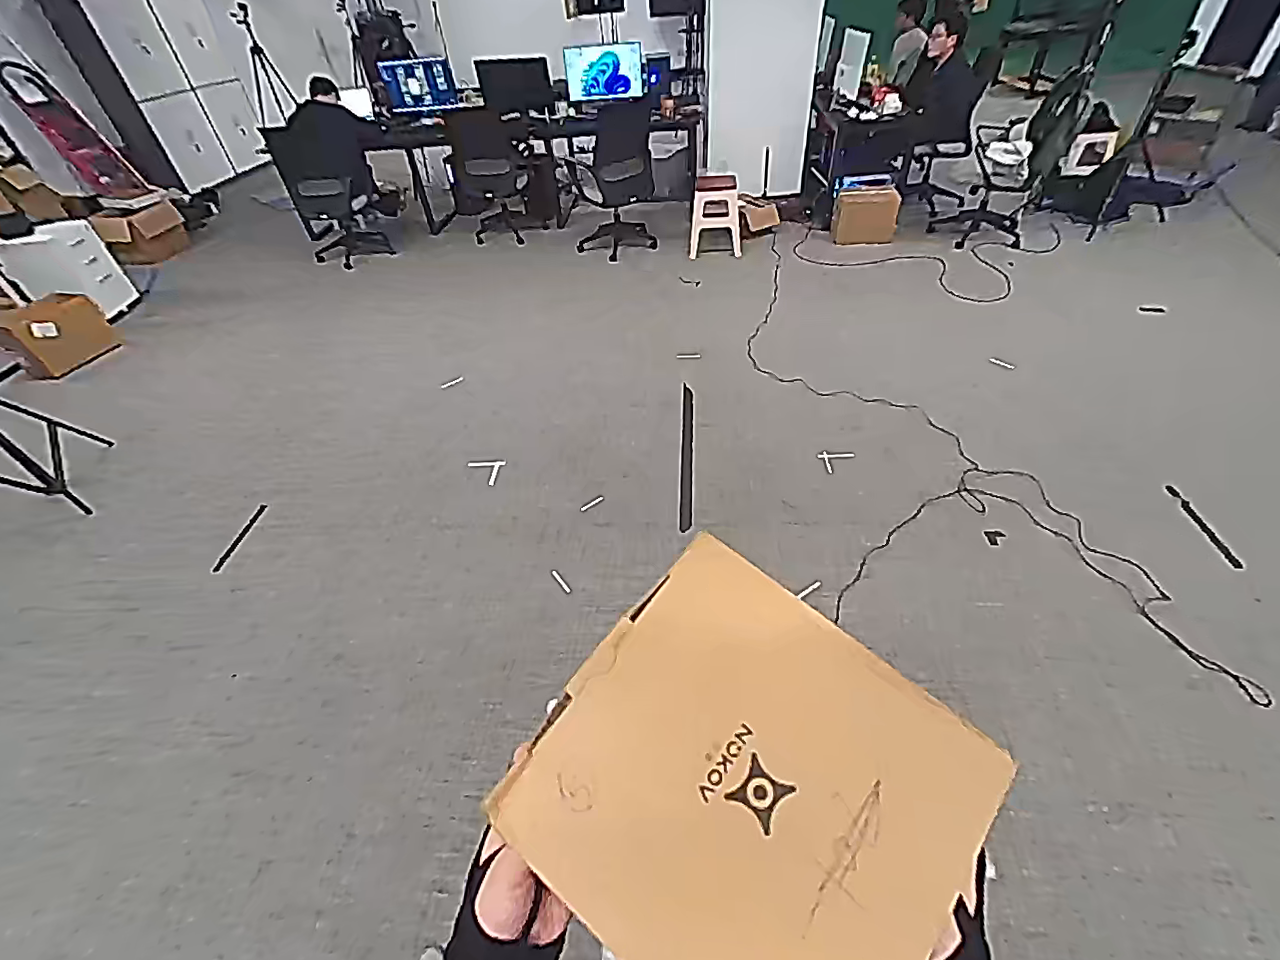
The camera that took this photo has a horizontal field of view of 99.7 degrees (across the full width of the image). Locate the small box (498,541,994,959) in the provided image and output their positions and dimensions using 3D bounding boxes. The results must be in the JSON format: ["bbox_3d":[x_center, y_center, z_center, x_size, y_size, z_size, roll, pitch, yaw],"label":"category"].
[{"bbox_3d":[0.049,0.170,0.323,0.179,0.176,0.168,36,71,14],"label":"small box"}]
